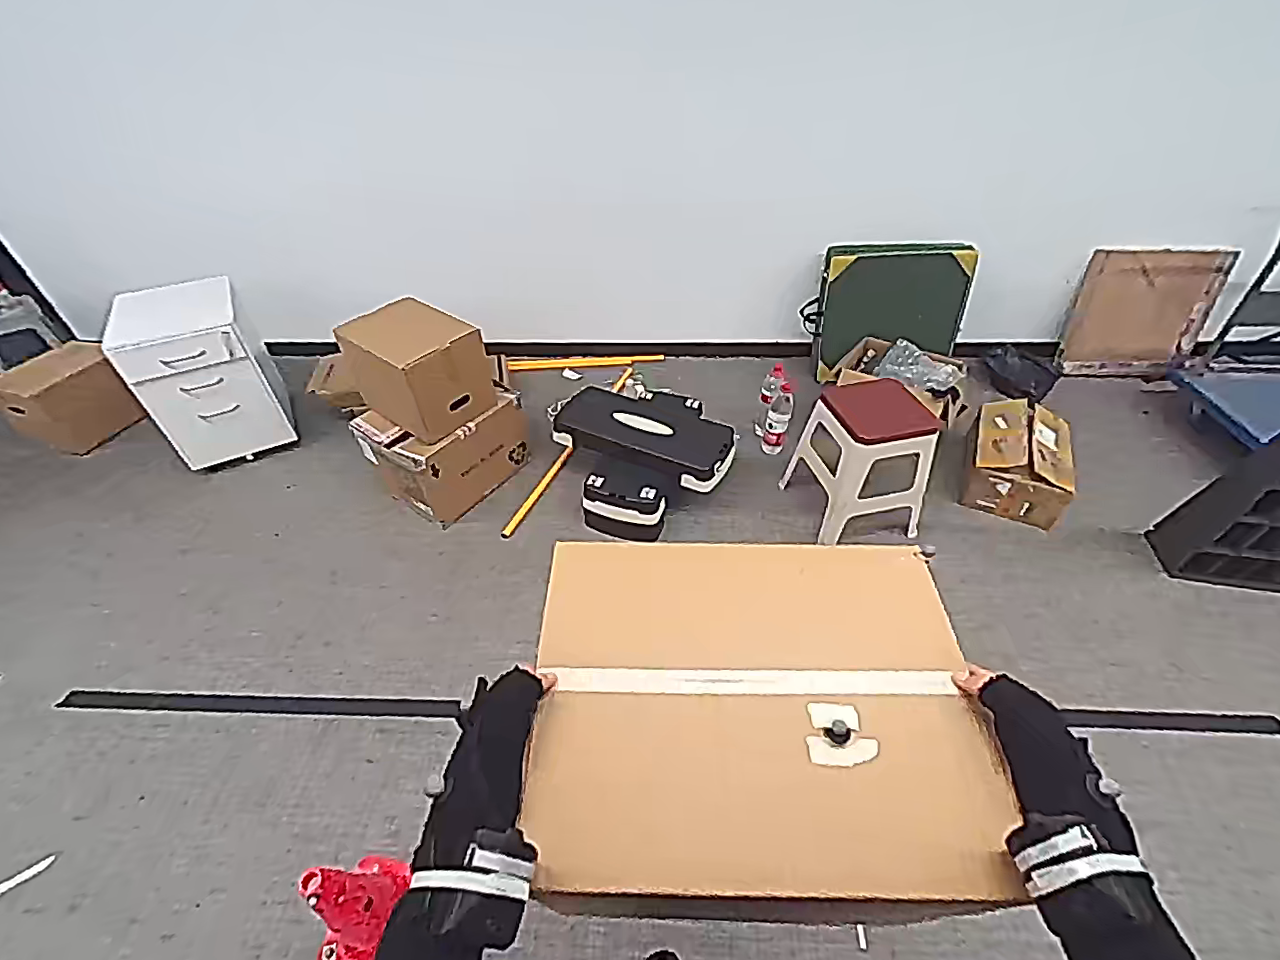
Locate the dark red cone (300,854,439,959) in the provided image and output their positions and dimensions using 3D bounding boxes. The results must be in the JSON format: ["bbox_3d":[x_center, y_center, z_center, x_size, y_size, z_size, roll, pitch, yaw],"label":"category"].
[{"bbox_3d":[-0.551,0.800,1.033,0.201,0.394,0.202,5,43,6],"label":"dark red cone"}]

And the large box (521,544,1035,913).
[{"bbox_3d":[0.105,0.287,0.620,0.408,0.320,0.320,1,49,1],"label":"large box"}]
